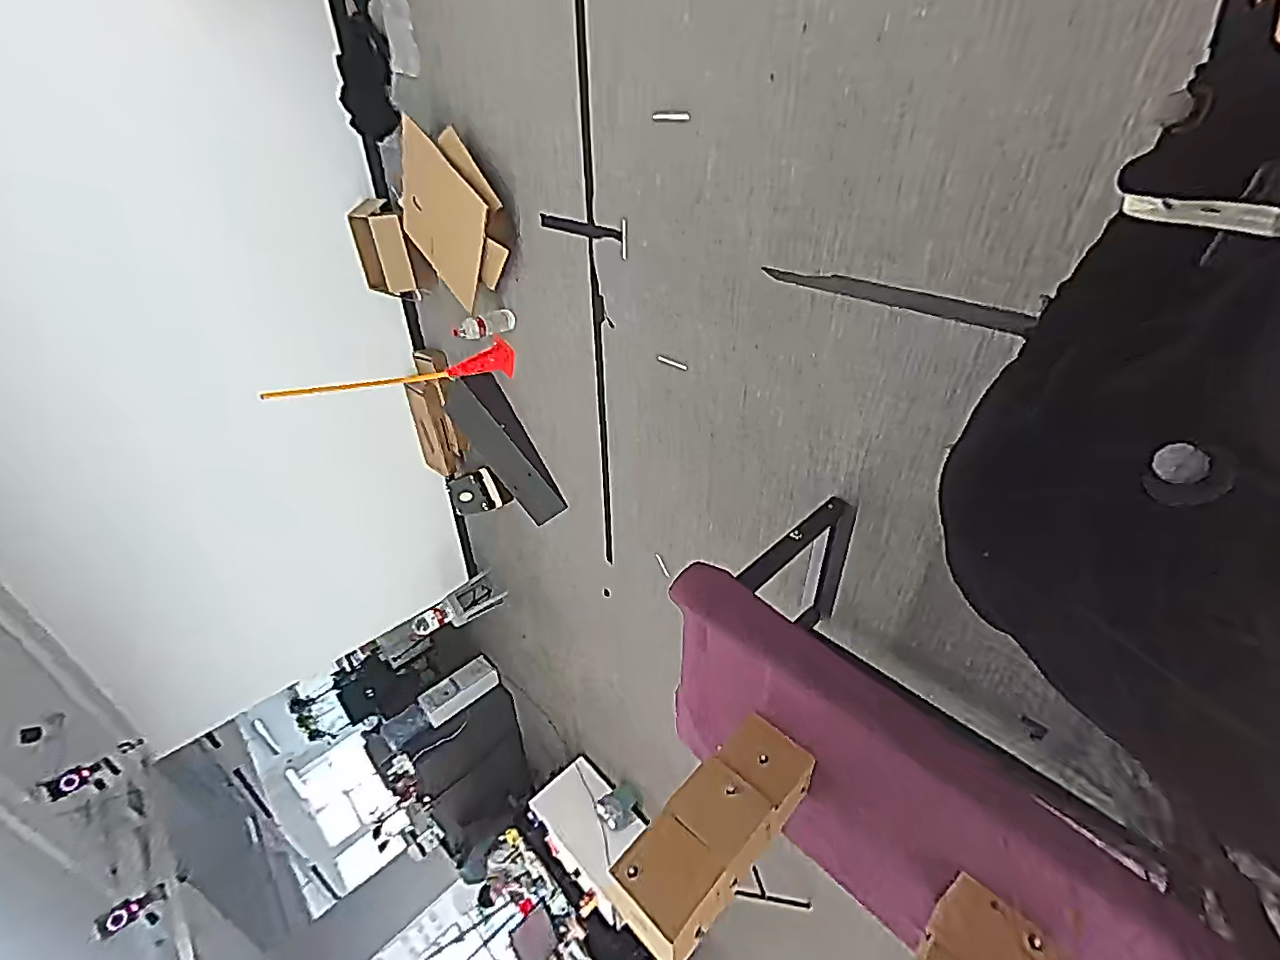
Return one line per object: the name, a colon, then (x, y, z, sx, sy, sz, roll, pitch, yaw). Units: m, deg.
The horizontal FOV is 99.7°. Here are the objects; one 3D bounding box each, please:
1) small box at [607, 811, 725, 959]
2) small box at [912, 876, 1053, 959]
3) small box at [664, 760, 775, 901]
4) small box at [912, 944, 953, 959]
small box: (0.057, 0.831, 1.105, 0.179, 0.176, 0.168, 25, 132, 39)
small box: (0.630, 0.893, 1.006, 0.168, 0.176, 0.179, 30, 135, 36)
small box: (0.173, 0.759, 1.196, 0.179, 0.176, 0.168, 26, 132, 40)
small box: (0.512, 0.946, 0.907, 0.168, 0.176, 0.179, 29, 133, 36)
